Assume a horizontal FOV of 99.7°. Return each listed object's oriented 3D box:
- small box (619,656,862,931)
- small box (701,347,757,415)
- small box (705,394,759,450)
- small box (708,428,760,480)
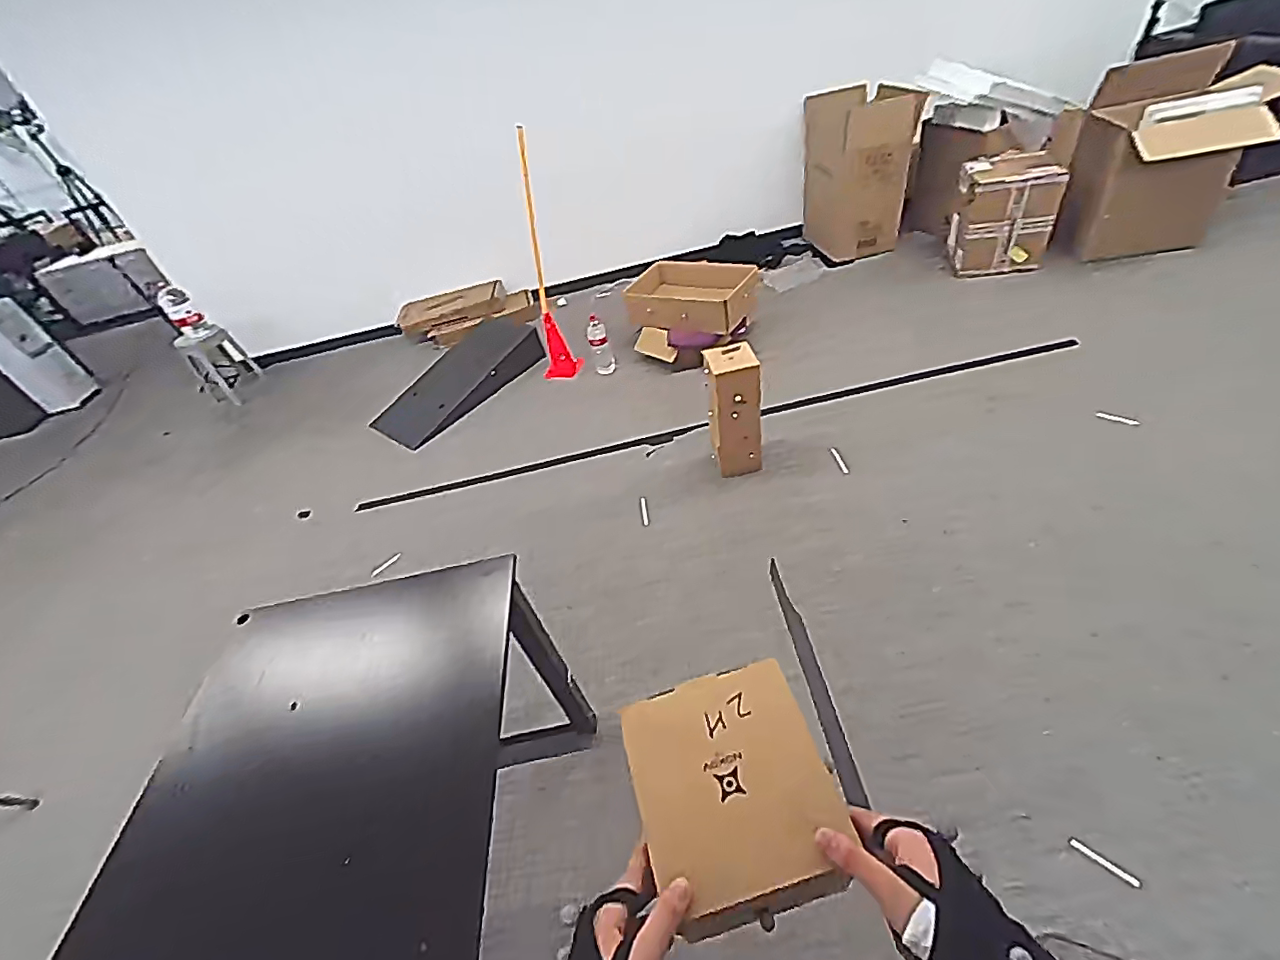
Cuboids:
[{"bbox_3d":[0.092,0.309,0.528,0.168,0.176,0.179,-18,44,-3],"label":"small box"},{"bbox_3d":[0.329,-0.364,1.997,0.168,0.176,0.179,-14,41,1],"label":"small box"},{"bbox_3d":[0.357,-0.242,2.105,0.168,0.176,0.179,-14,40,1],"label":"small box"},{"bbox_3d":[0.387,-0.123,2.213,0.179,0.176,0.168,-14,40,3],"label":"small box"}]
